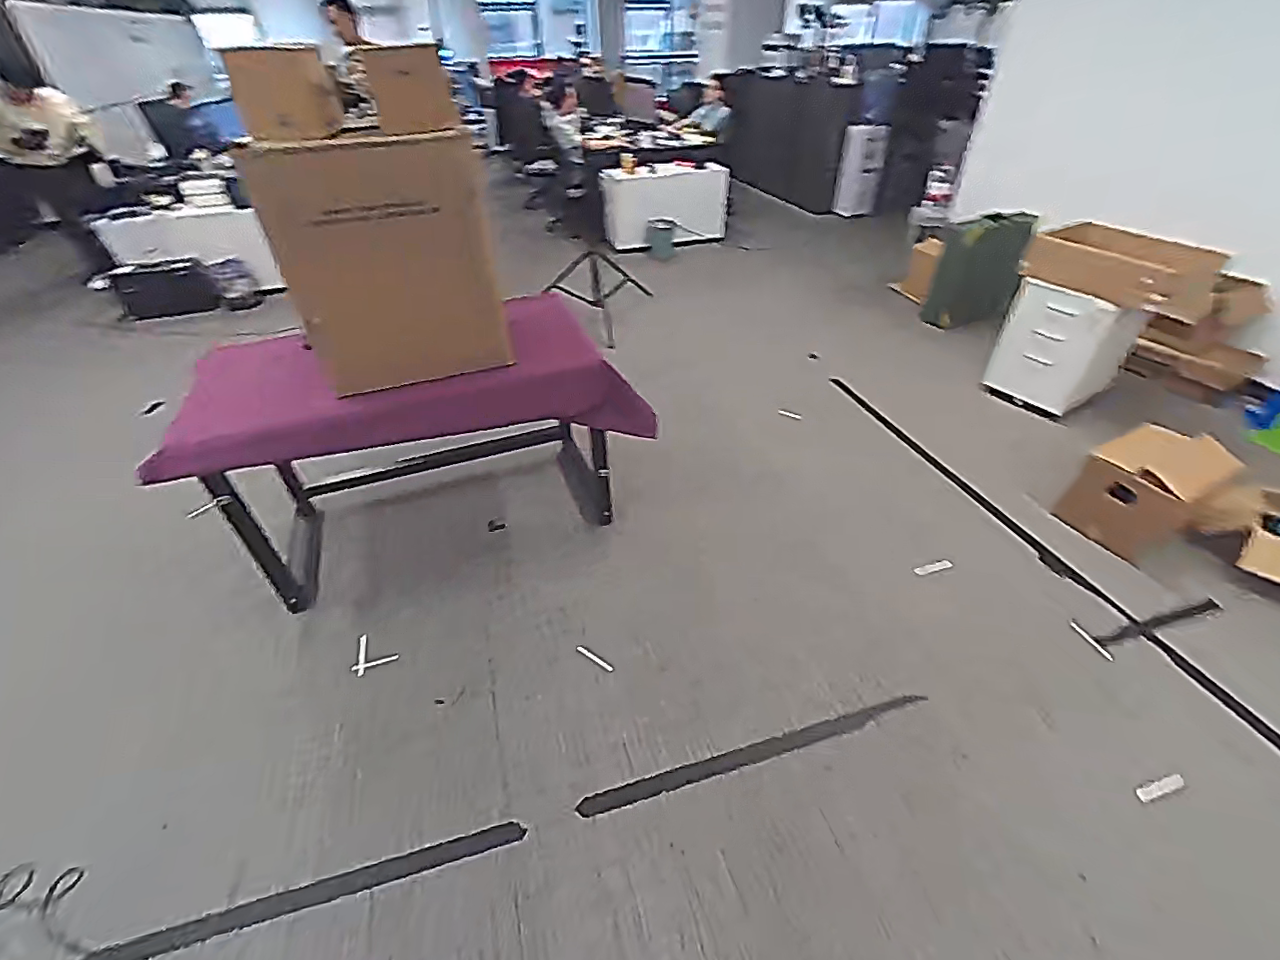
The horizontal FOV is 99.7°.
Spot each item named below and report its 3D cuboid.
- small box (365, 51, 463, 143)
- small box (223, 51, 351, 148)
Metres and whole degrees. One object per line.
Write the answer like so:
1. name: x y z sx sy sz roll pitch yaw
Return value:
1. small box: -0.548 -0.933 1.316 0.179 0.176 0.168 -16 43 -16
2. small box: -0.812 -0.893 1.270 0.179 0.176 0.168 -4 41 -5
